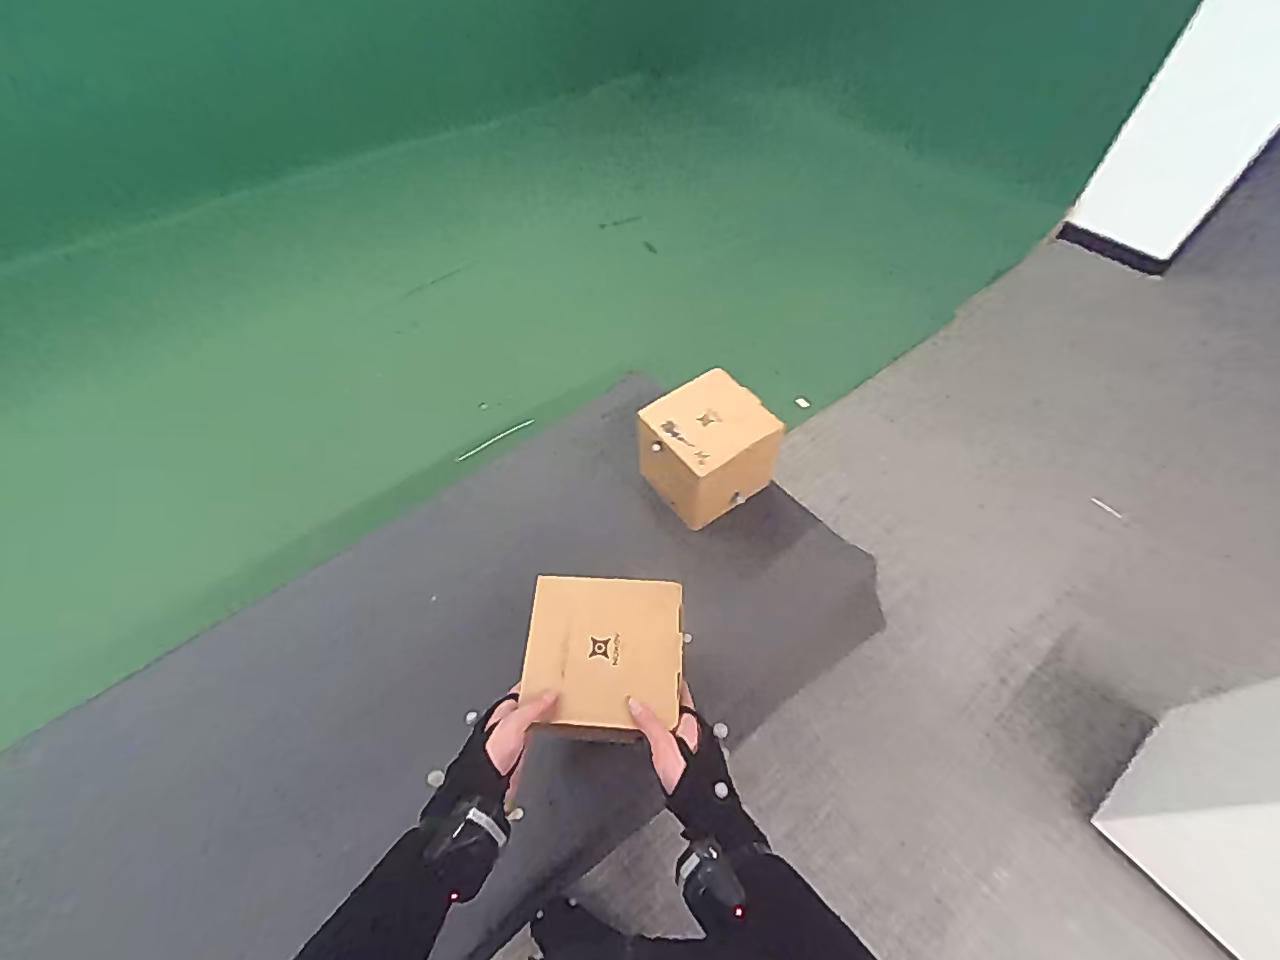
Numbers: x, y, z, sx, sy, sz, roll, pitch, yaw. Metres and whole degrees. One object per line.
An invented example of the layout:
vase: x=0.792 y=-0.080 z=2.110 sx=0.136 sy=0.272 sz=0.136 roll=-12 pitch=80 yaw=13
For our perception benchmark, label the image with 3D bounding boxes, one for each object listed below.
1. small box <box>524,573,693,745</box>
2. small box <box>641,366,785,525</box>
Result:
small box: x=-0.029 y=0.226 z=0.667 sx=0.179 sy=0.176 sz=0.168 roll=2 pitch=59 yaw=3
small box: x=0.113 y=-0.057 z=0.926 sx=0.179 sy=0.176 sz=0.168 roll=-30 pitch=61 yaw=-19
